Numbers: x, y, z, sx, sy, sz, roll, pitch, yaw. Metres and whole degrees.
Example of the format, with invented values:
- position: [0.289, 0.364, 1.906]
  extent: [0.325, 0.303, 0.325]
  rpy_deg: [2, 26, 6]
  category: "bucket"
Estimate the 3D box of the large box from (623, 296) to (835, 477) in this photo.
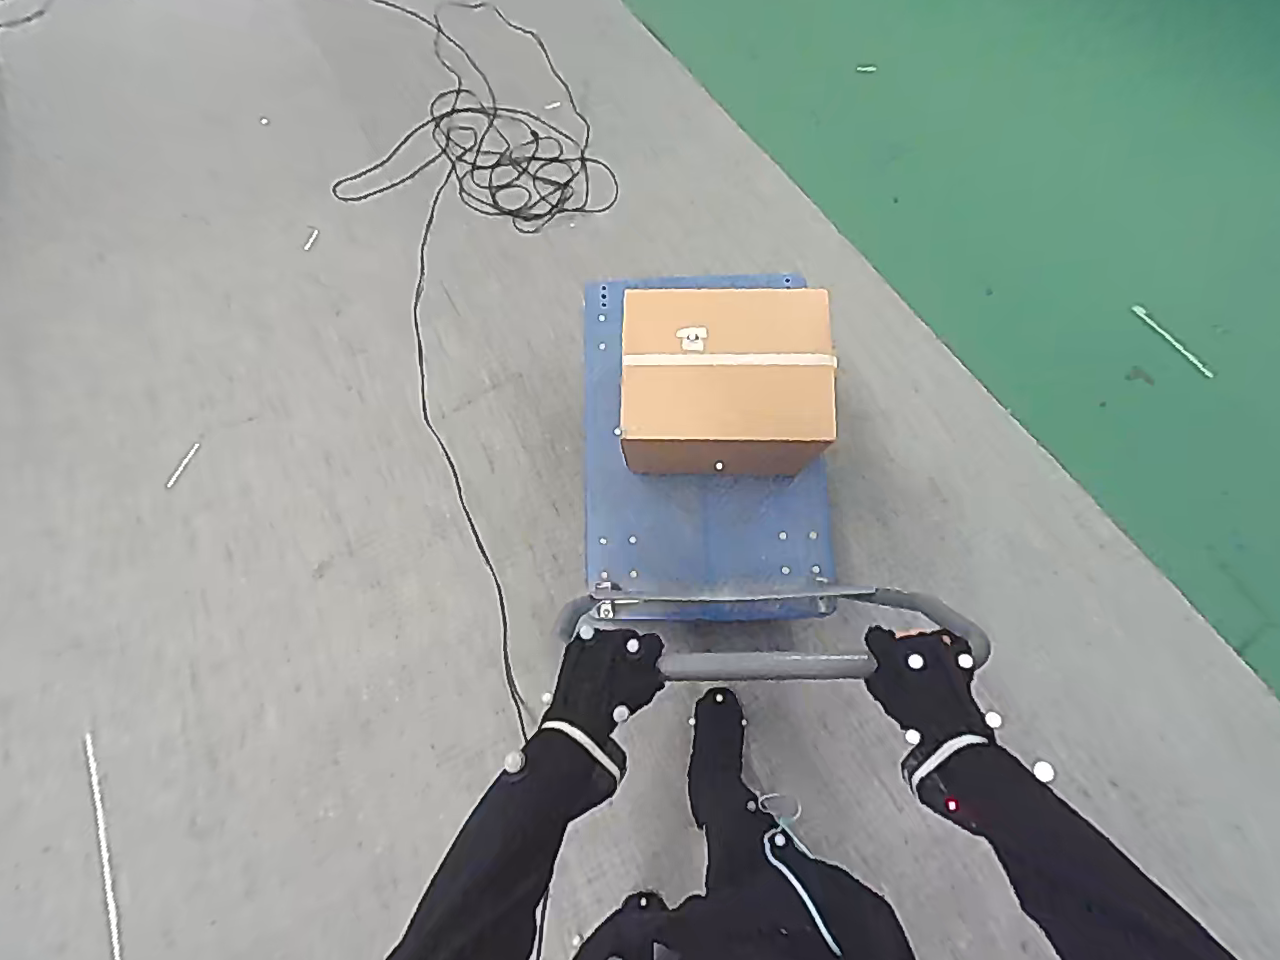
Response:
- position: [0.179, -0.183, 1.189]
  extent: [0.408, 0.320, 0.320]
  rpy_deg: [1, 78, 4]
  category: "large box"
